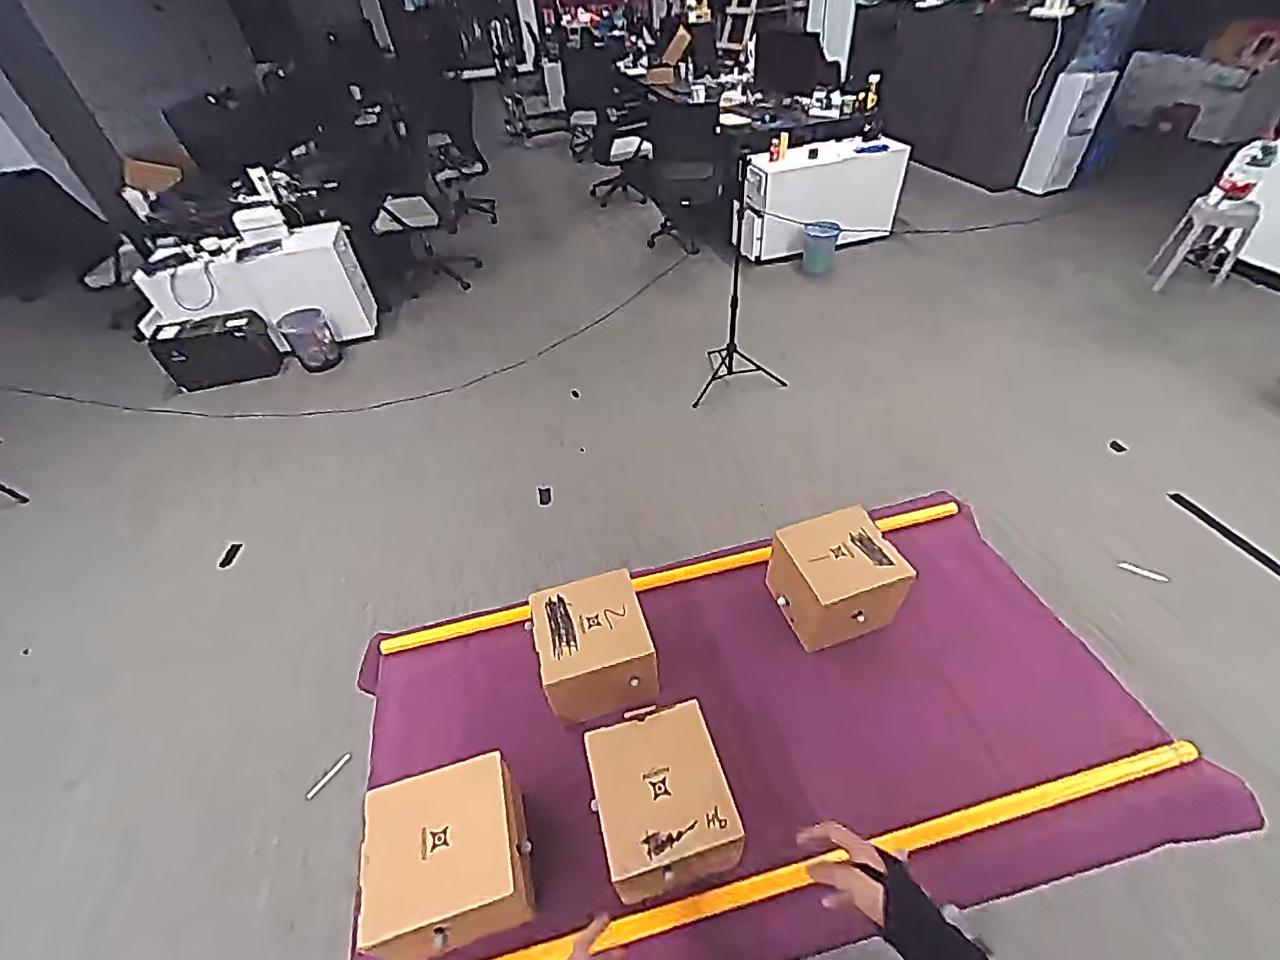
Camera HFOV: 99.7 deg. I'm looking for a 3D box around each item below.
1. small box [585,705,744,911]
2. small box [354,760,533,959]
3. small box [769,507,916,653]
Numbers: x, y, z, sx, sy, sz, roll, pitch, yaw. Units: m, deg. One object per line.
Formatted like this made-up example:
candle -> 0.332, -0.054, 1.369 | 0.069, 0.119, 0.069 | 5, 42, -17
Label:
small box -> 0.029, 0.444, 0.735 | 0.168, 0.176, 0.179 | -14, 44, -7
small box -> -0.243, 0.501, 0.706 | 0.179, 0.176, 0.168 | -14, 44, -10
small box -> 0.348, 0.181, 0.970 | 0.179, 0.176, 0.168 | -17, 46, -9
